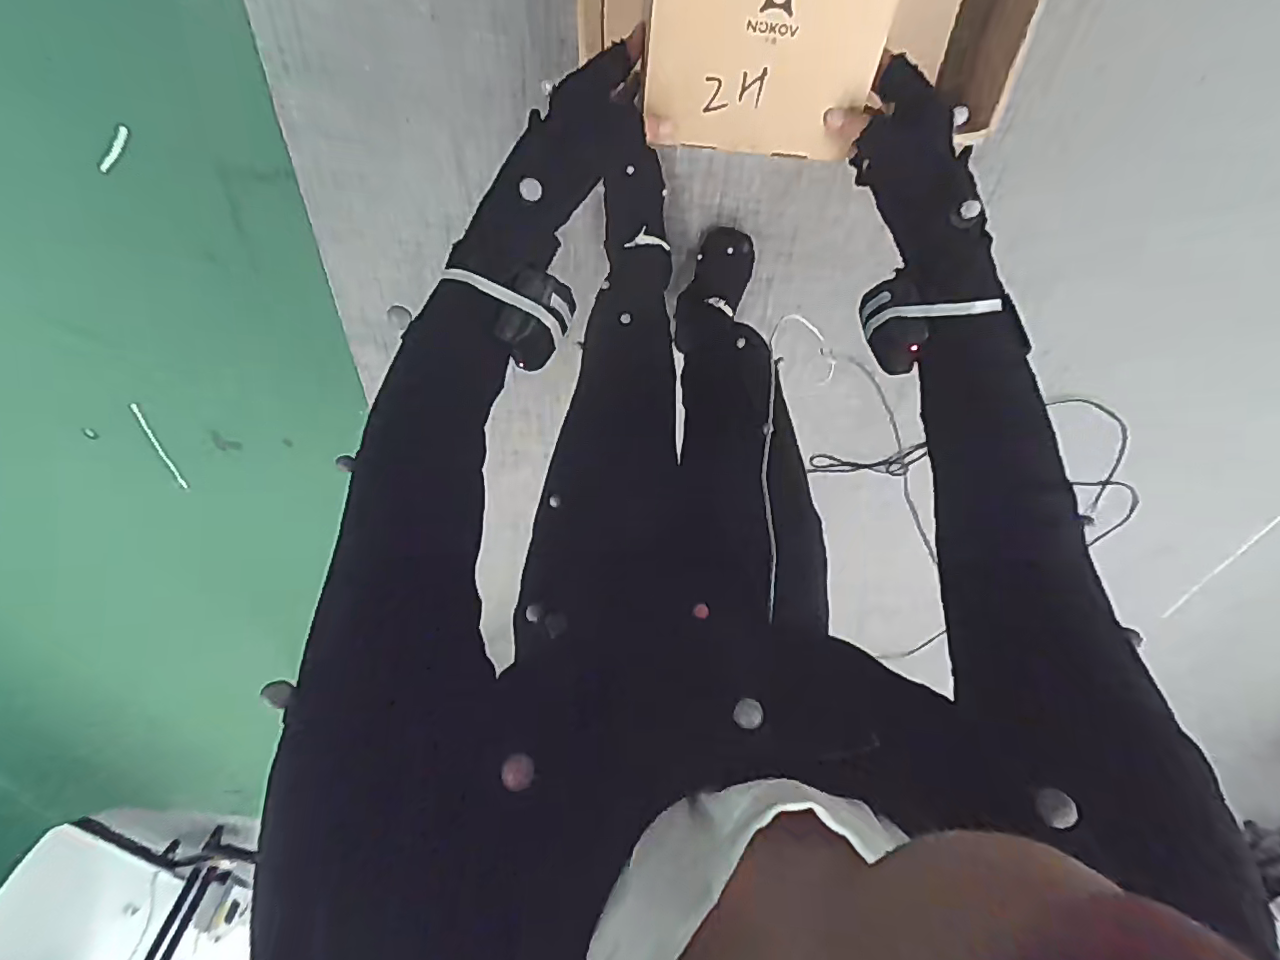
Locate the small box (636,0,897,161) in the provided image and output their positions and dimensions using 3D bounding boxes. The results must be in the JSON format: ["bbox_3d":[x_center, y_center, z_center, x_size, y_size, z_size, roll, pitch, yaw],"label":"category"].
[{"bbox_3d":[0.088,-0.379,0.420,0.168,0.176,0.179,4,136,-7],"label":"small box"}]
